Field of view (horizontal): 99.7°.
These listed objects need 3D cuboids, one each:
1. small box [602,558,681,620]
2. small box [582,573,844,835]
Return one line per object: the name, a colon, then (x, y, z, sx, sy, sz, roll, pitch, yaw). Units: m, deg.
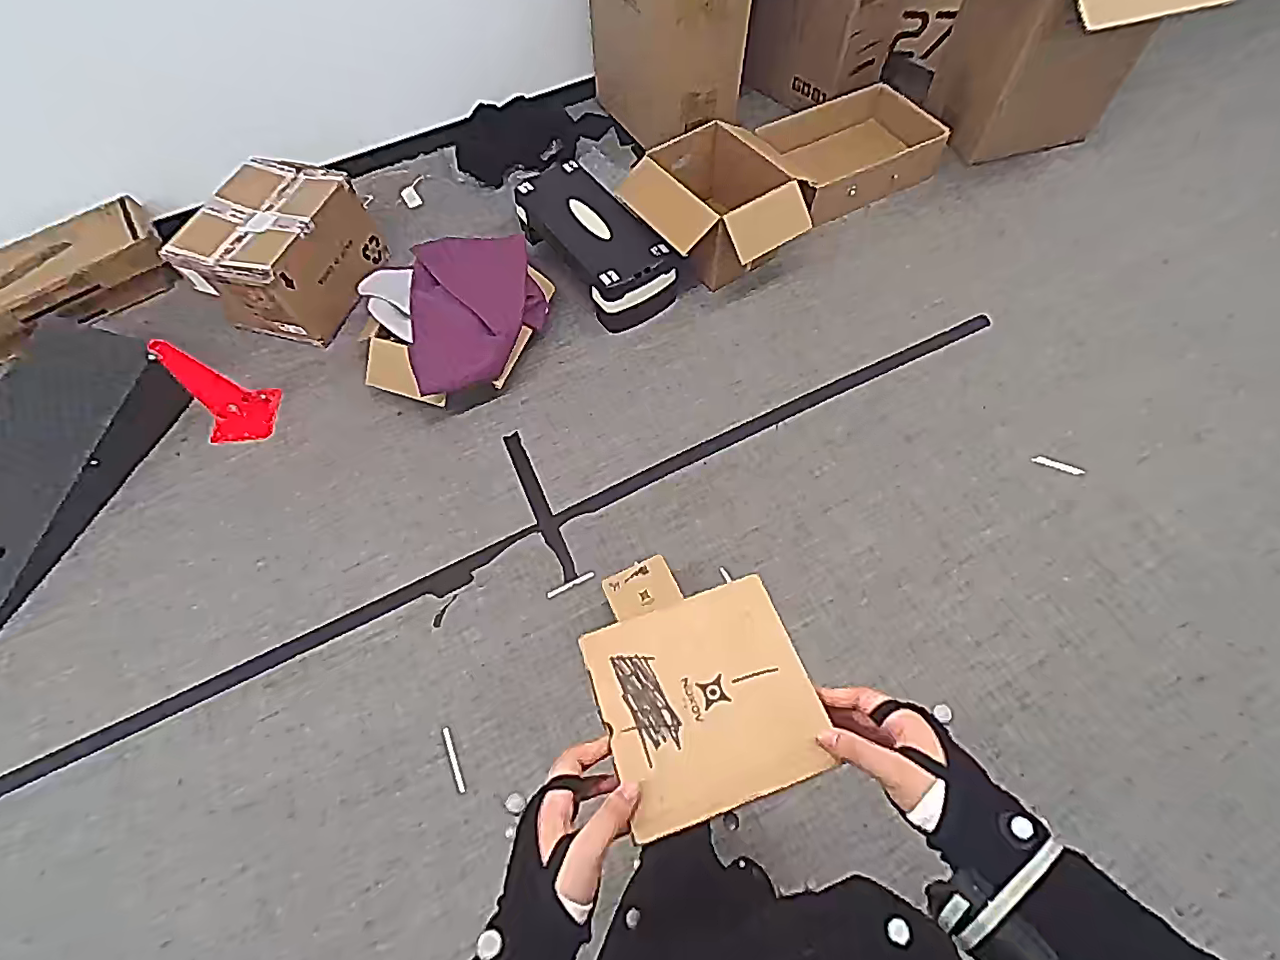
small box: (0.020, 0.324, 1.345, 0.168, 0.176, 0.179, -23, 65, -9)
small box: (0.061, 0.217, 0.515, 0.179, 0.176, 0.168, -18, 59, -5)
